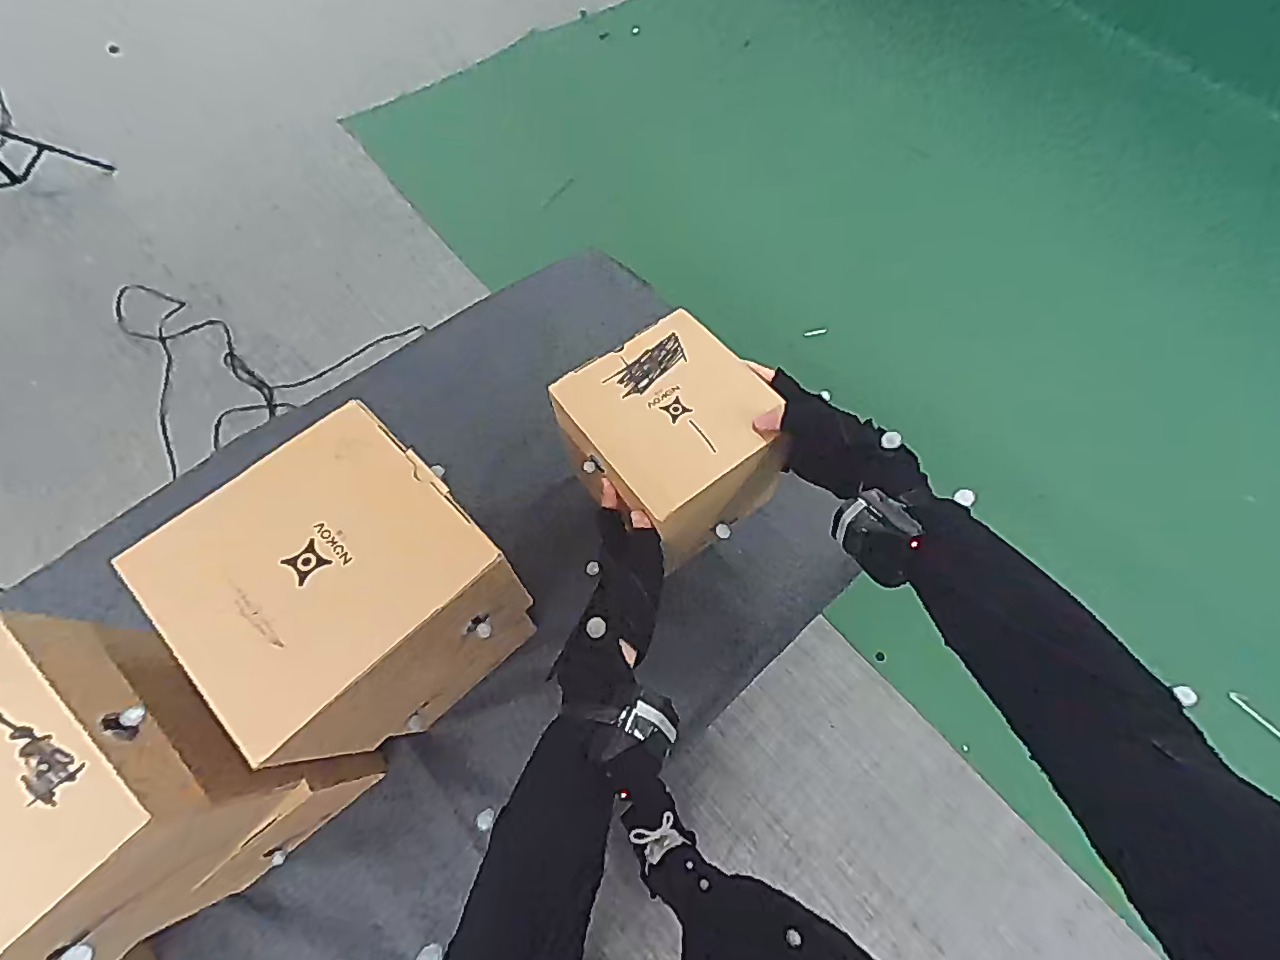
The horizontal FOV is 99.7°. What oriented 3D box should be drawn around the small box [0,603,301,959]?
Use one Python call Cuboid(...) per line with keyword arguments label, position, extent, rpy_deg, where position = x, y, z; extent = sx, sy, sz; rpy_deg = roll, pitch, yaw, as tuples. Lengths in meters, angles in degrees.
Cuboid(label="small box", position=(-0.377, 0.210, 0.352), extent=(0.168, 0.176, 0.179), rpy_deg=(41, 72, 11))
